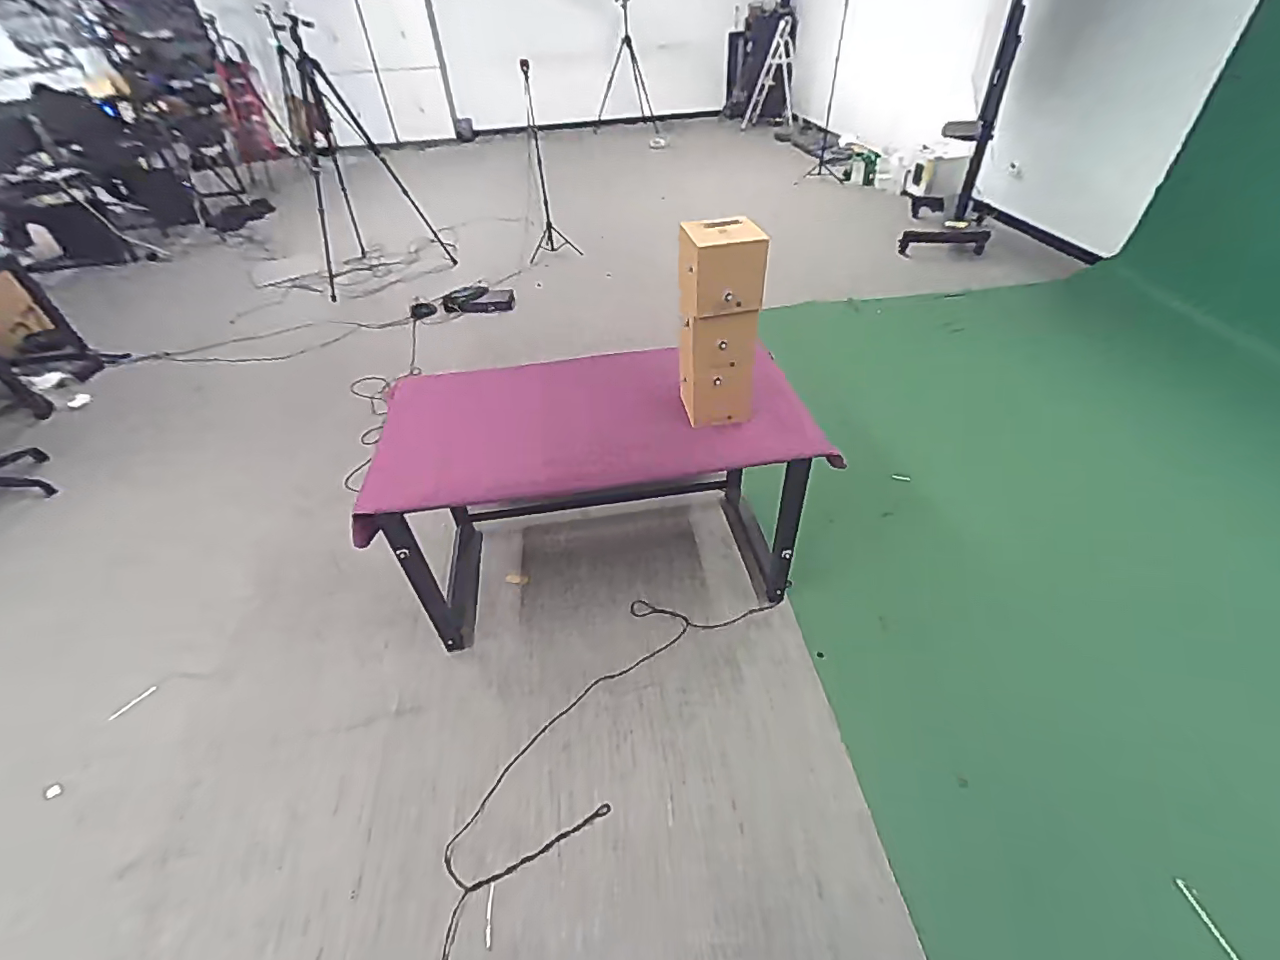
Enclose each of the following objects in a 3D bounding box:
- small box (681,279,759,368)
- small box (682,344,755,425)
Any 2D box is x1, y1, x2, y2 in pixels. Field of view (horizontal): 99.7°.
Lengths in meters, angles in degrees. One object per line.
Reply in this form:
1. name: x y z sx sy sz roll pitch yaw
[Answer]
1. small box: 0.202 -0.401 1.404 0.168 0.176 0.179 -7 42 -3
2. small box: 0.212 -0.276 1.513 0.168 0.176 0.179 -9 41 -3
